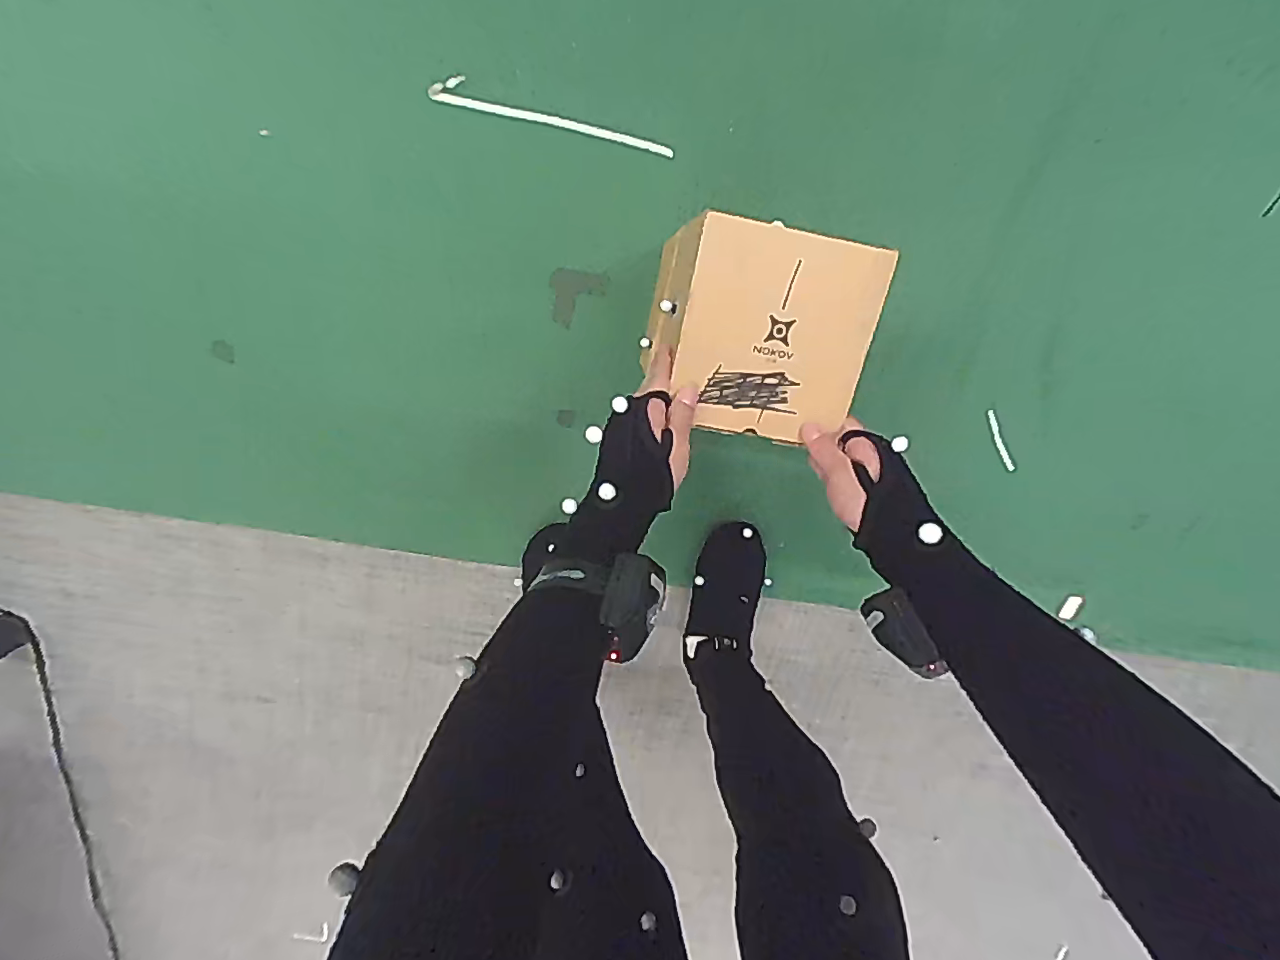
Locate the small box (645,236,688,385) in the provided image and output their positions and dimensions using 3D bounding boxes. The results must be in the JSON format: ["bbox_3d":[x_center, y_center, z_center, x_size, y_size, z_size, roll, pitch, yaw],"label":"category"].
[{"bbox_3d":[0.105,-0.207,0.715,0.168,0.176,0.179,10,109,-7],"label":"small box"}]

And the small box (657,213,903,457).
[{"bbox_3d":[0.114,-0.141,0.530,0.168,0.176,0.179,9,109,-7],"label":"small box"}]
